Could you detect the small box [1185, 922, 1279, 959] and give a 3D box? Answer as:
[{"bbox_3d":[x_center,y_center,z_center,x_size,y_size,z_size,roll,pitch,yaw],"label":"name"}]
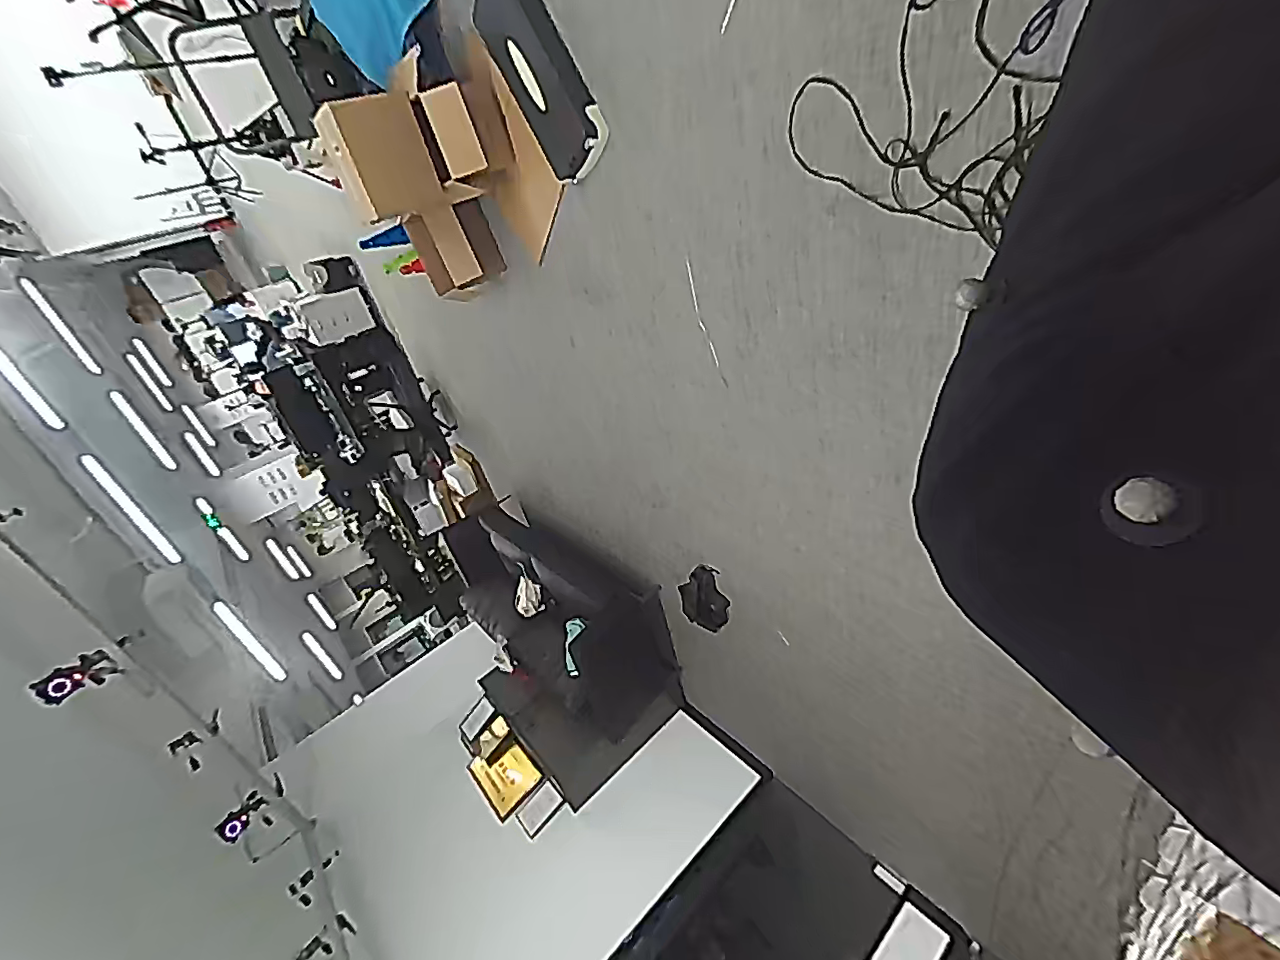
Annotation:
[{"bbox_3d":[0.959,0.848,0.835,0.168,0.176,0.179,26,140,45],"label":"small box"}]
